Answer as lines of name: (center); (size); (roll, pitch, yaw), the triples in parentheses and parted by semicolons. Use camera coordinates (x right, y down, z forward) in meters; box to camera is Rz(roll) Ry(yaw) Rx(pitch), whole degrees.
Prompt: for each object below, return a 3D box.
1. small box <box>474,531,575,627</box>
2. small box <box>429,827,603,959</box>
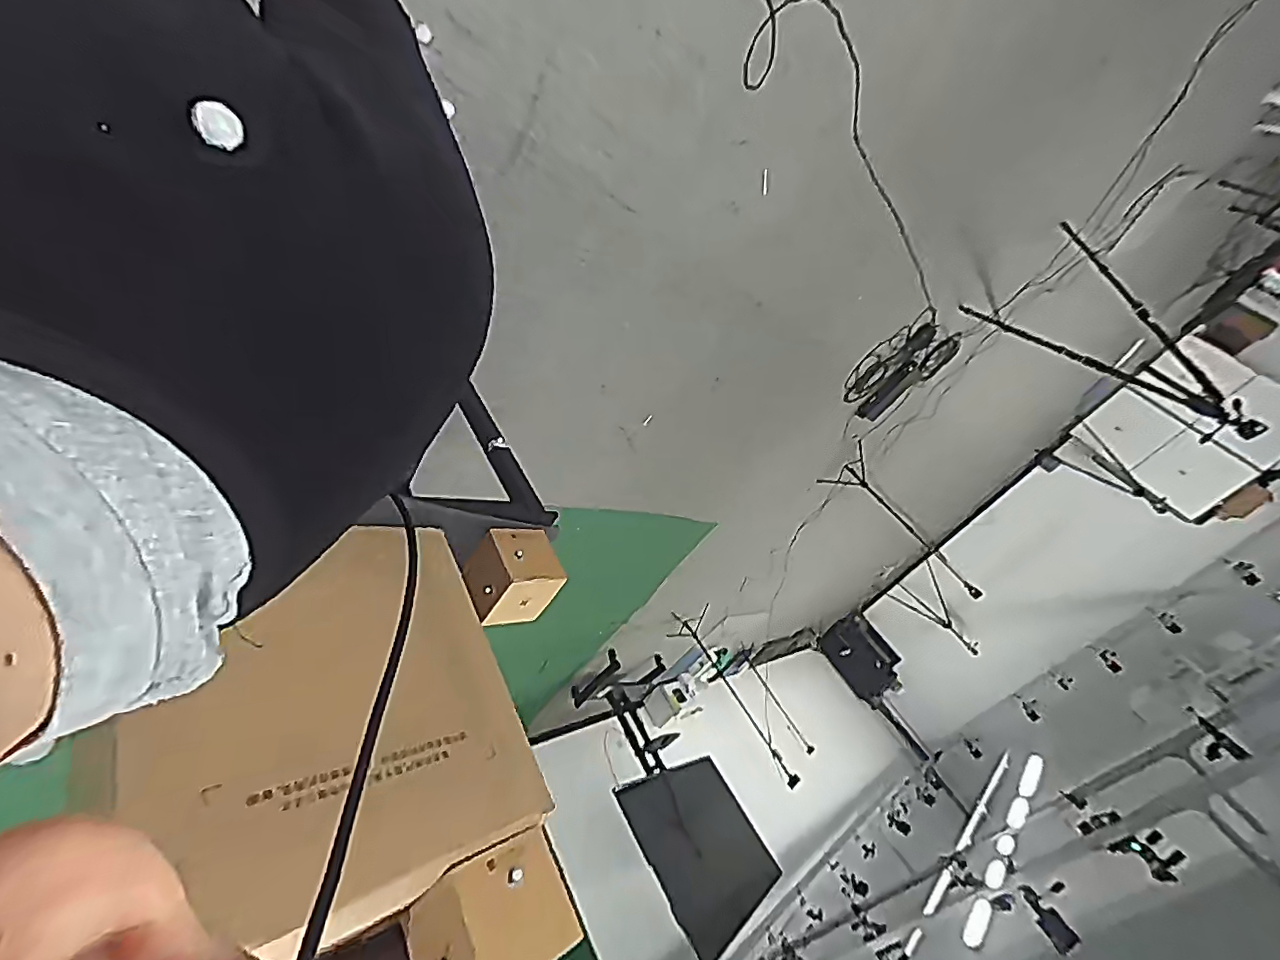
small box: (-0.300, 0.244, 1.372); (0.168, 0.176, 0.179); (7, 130, -45)
small box: (-0.194, 0.669, 0.813); (0.168, 0.176, 0.179); (7, 127, -50)
